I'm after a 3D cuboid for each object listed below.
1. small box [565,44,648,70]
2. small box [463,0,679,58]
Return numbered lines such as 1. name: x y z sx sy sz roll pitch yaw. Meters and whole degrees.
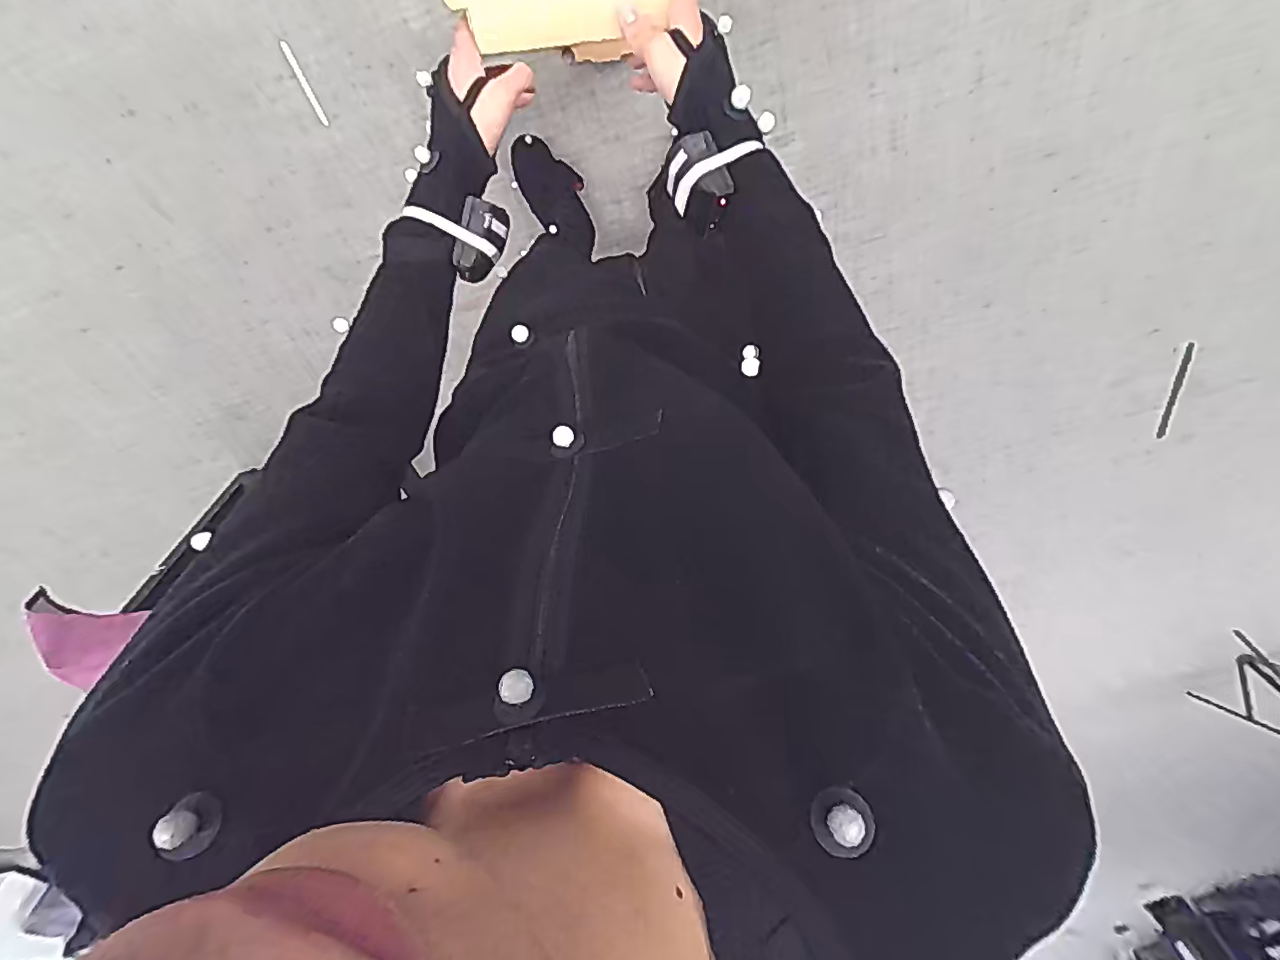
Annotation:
1. small box: -0.084 -0.935 1.066 0.168 0.176 0.179 -12 127 3
2. small box: -0.066 -0.476 0.468 0.179 0.176 0.168 -8 130 -1
